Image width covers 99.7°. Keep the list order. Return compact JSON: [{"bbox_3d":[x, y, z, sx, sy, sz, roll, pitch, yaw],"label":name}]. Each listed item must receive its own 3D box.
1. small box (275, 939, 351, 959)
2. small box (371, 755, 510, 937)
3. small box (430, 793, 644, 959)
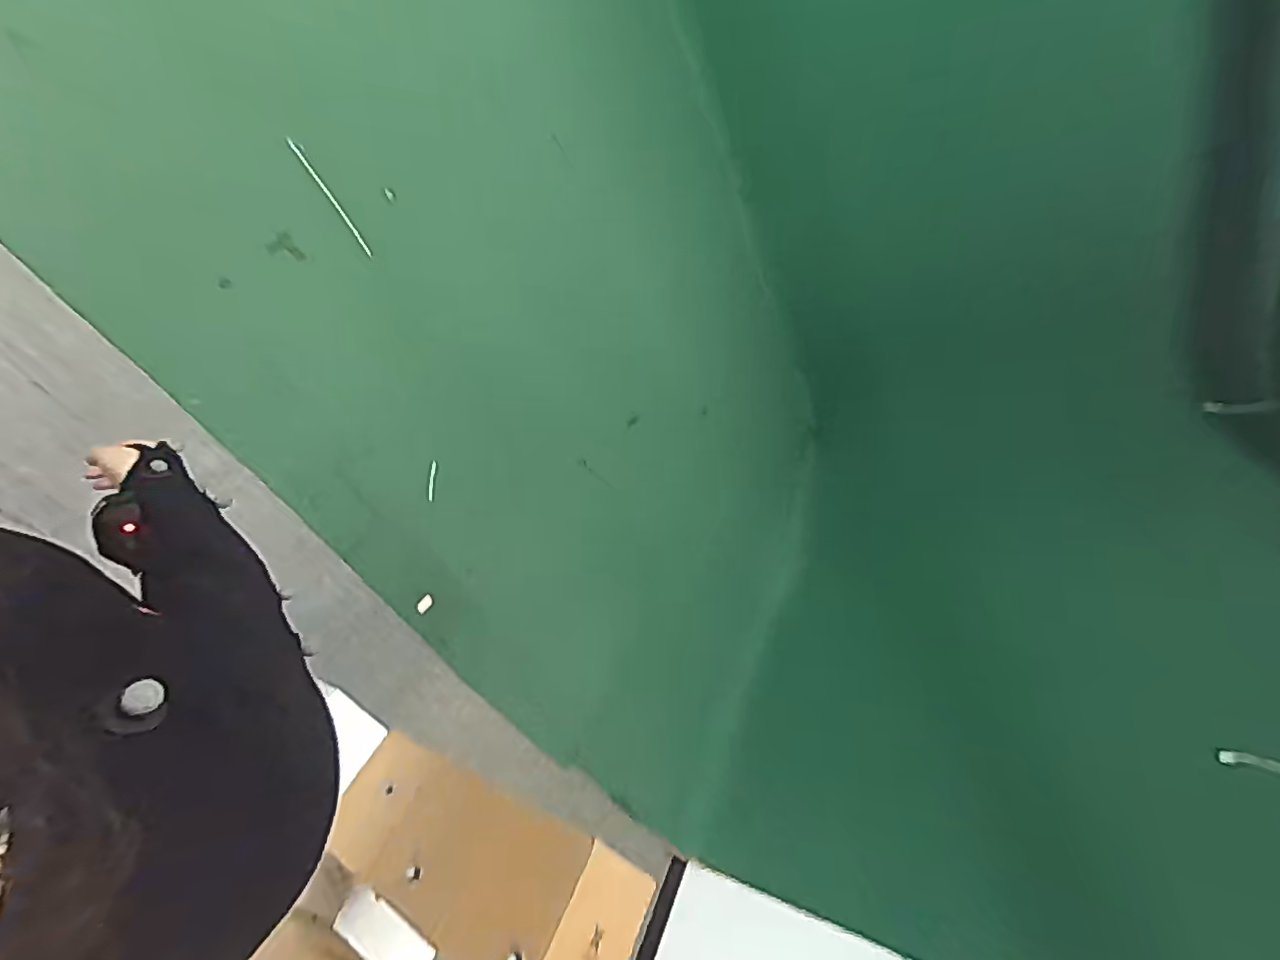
[{"bbox_3d":[-0.379,0.678,0.622,0.168,0.176,0.179,-56,129,-39],"label":"small box"},{"bbox_3d":[-0.258,0.540,0.791,0.168,0.176,0.179,58,47,-34],"label":"small box"},{"bbox_3d":[-0.128,0.539,0.693,0.168,0.176,0.179,58,48,-33],"label":"small box"}]
